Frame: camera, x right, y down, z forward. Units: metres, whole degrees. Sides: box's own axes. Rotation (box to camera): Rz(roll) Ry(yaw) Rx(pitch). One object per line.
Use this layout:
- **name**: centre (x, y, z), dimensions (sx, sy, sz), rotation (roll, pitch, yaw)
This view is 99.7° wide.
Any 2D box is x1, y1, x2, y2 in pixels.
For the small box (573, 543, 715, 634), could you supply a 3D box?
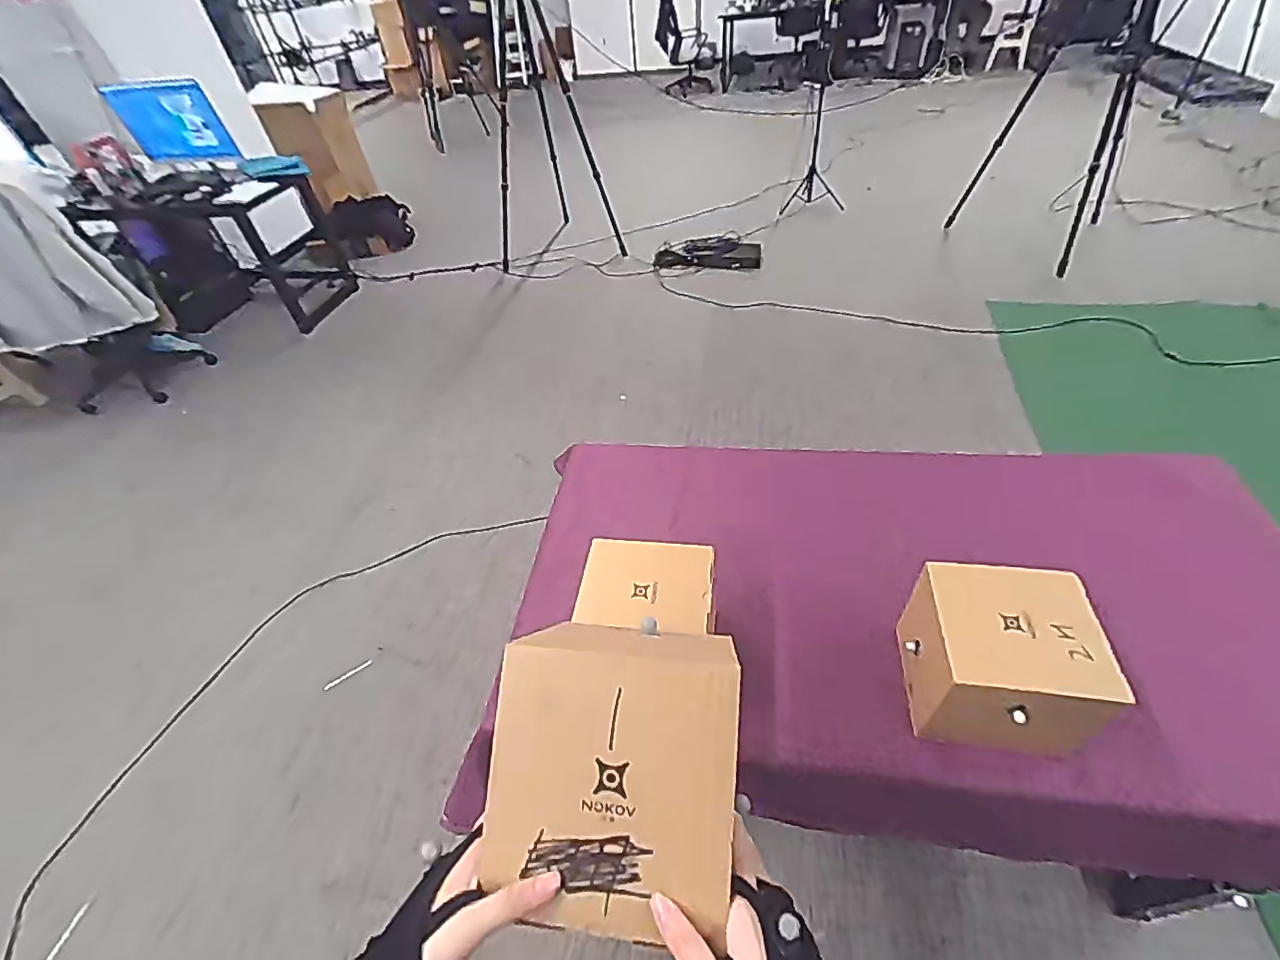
- **small box**: centre (0.013, 0.209, 0.765), dimensions (0.179, 0.176, 0.168), rotation (3, 46, 9)

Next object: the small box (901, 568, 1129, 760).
- **small box**: centre (0.446, 0.233, 0.685), dimensions (0.179, 0.176, 0.168), rotation (4, 46, 11)

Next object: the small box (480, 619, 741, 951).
- **small box**: centre (-0.010, 0.216, 0.438), dimensions (0.168, 0.176, 0.179), rotation (4, 81, 7)
